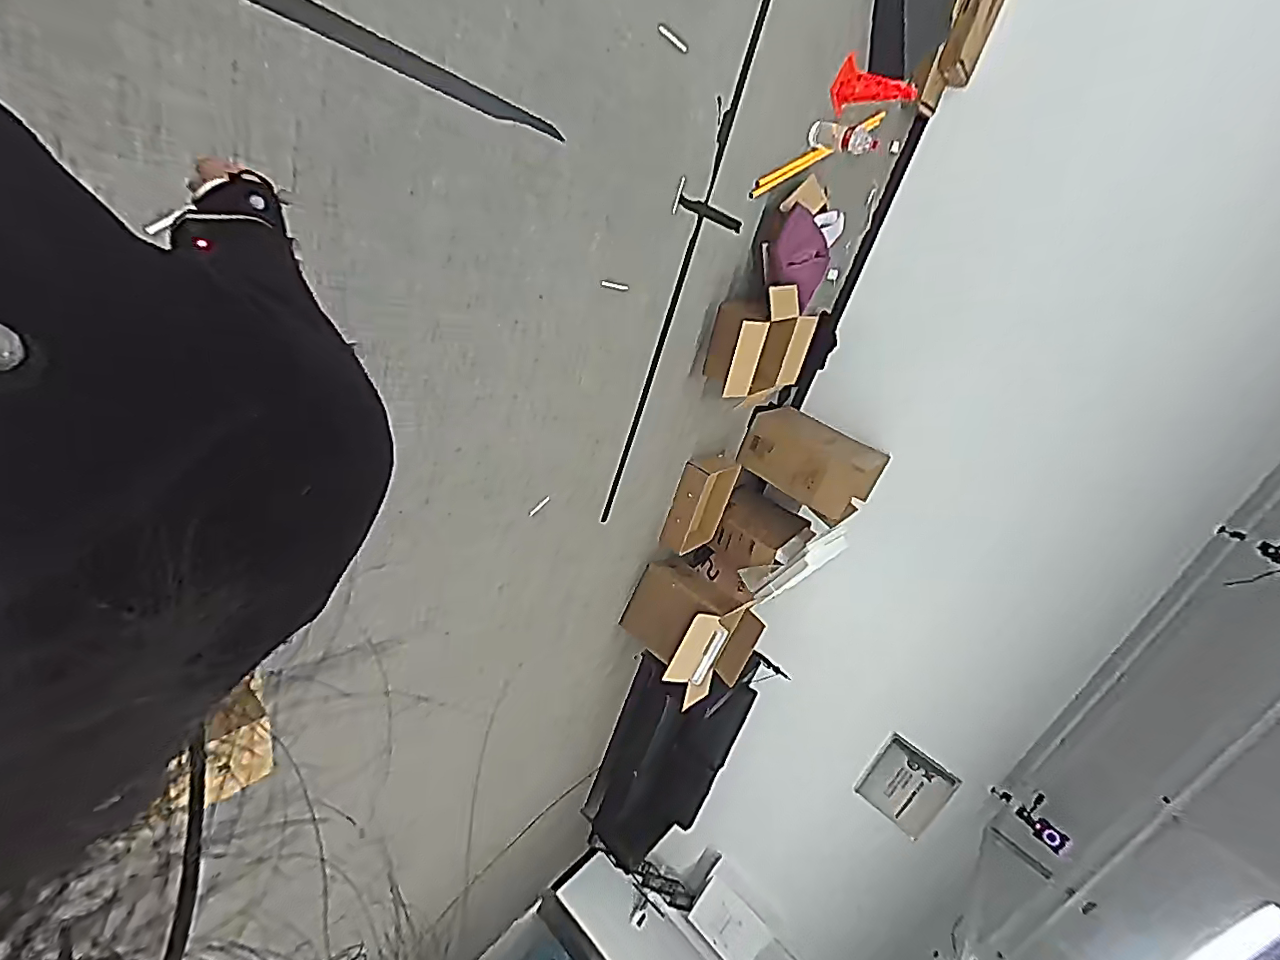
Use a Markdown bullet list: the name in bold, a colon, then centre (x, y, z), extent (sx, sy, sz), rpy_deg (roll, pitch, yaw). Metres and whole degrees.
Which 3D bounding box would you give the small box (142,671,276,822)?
- **small box**: centre (-0.868, 0.529, 1.095), extent (0.168, 0.176, 0.179), rpy_deg (-20, 129, -49)
